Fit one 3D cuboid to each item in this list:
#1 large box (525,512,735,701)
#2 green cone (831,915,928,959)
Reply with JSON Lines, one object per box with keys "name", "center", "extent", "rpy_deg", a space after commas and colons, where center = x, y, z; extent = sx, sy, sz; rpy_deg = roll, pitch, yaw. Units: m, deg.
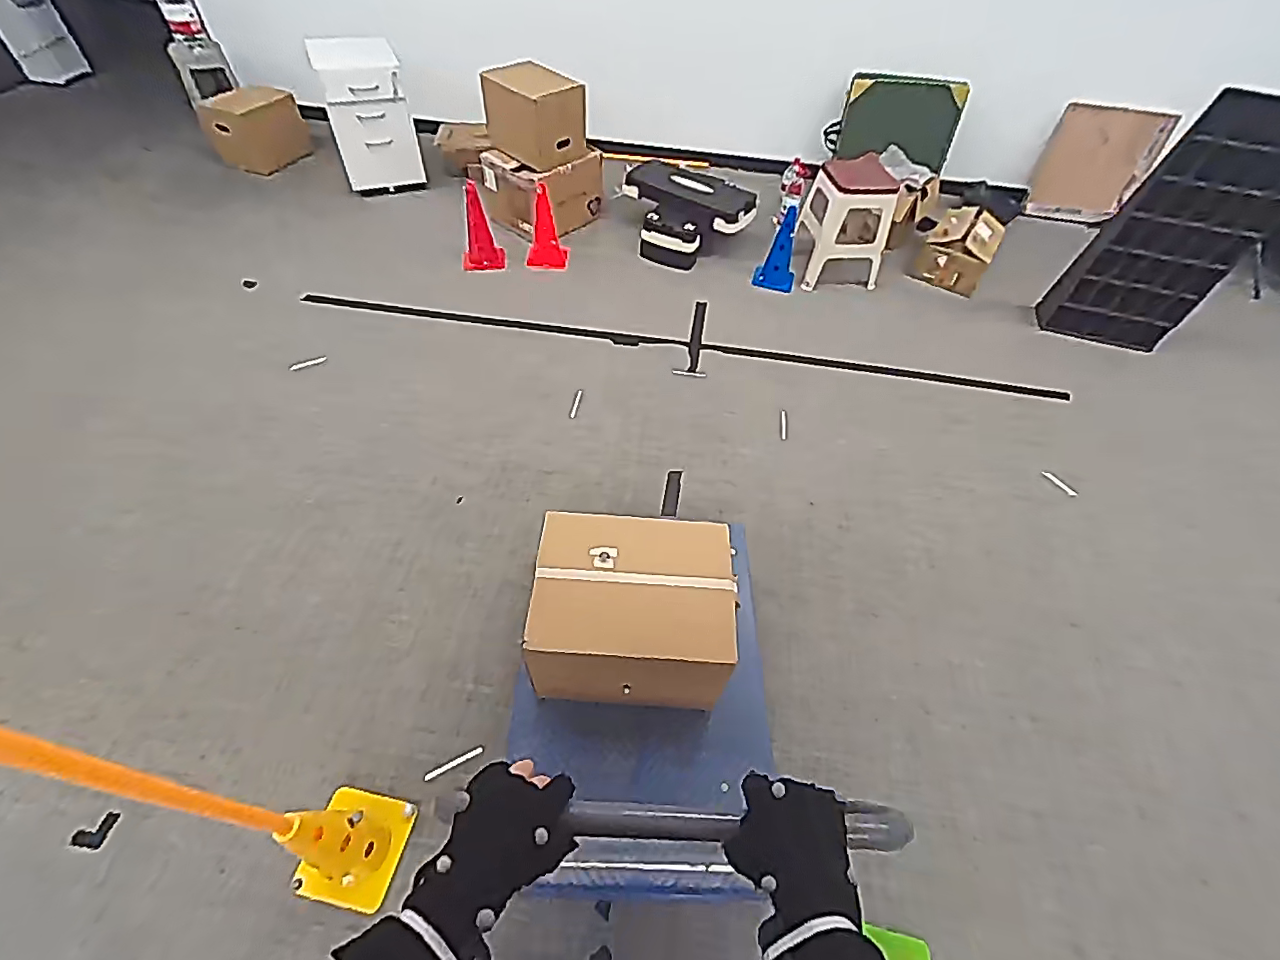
{"name": "large box", "center": [-0.017, 0.293, 1.218], "extent": [0.408, 0.320, 0.320], "rpy_deg": [4, 52, 0]}
{"name": "green cone", "center": [0.497, 0.911, 0.948], "extent": [0.202, 0.368, 0.200], "rpy_deg": [13, 52, 4]}
